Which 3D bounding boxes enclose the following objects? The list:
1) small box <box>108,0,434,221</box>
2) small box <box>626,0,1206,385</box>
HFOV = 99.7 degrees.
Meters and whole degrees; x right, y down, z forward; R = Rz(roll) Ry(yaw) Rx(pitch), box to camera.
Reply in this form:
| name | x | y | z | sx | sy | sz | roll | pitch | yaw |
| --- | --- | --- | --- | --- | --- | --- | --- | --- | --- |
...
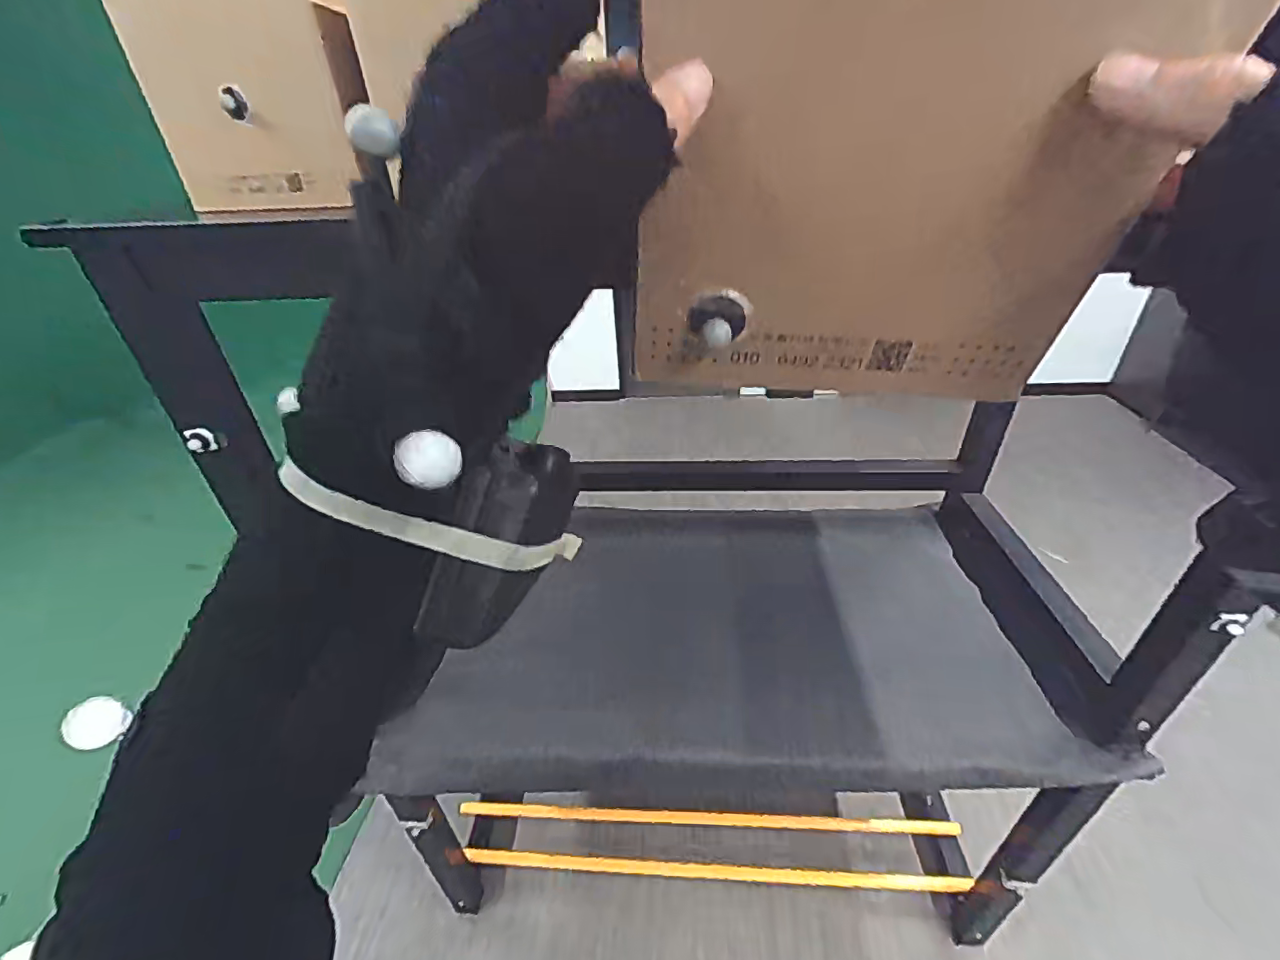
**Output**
| name | x | y | z | sx | sy | sz | roll | pitch | yaw |
| --- | --- | --- | --- | --- | --- | --- | --- | --- | --- |
| small box | -0.320 | -0.350 | 0.520 | 0.168 | 0.176 | 0.179 | 1 | 33 | 4 |
| small box | 0.082 | -0.157 | 0.235 | 0.168 | 0.176 | 0.179 | 4 | 45 | 1 |
